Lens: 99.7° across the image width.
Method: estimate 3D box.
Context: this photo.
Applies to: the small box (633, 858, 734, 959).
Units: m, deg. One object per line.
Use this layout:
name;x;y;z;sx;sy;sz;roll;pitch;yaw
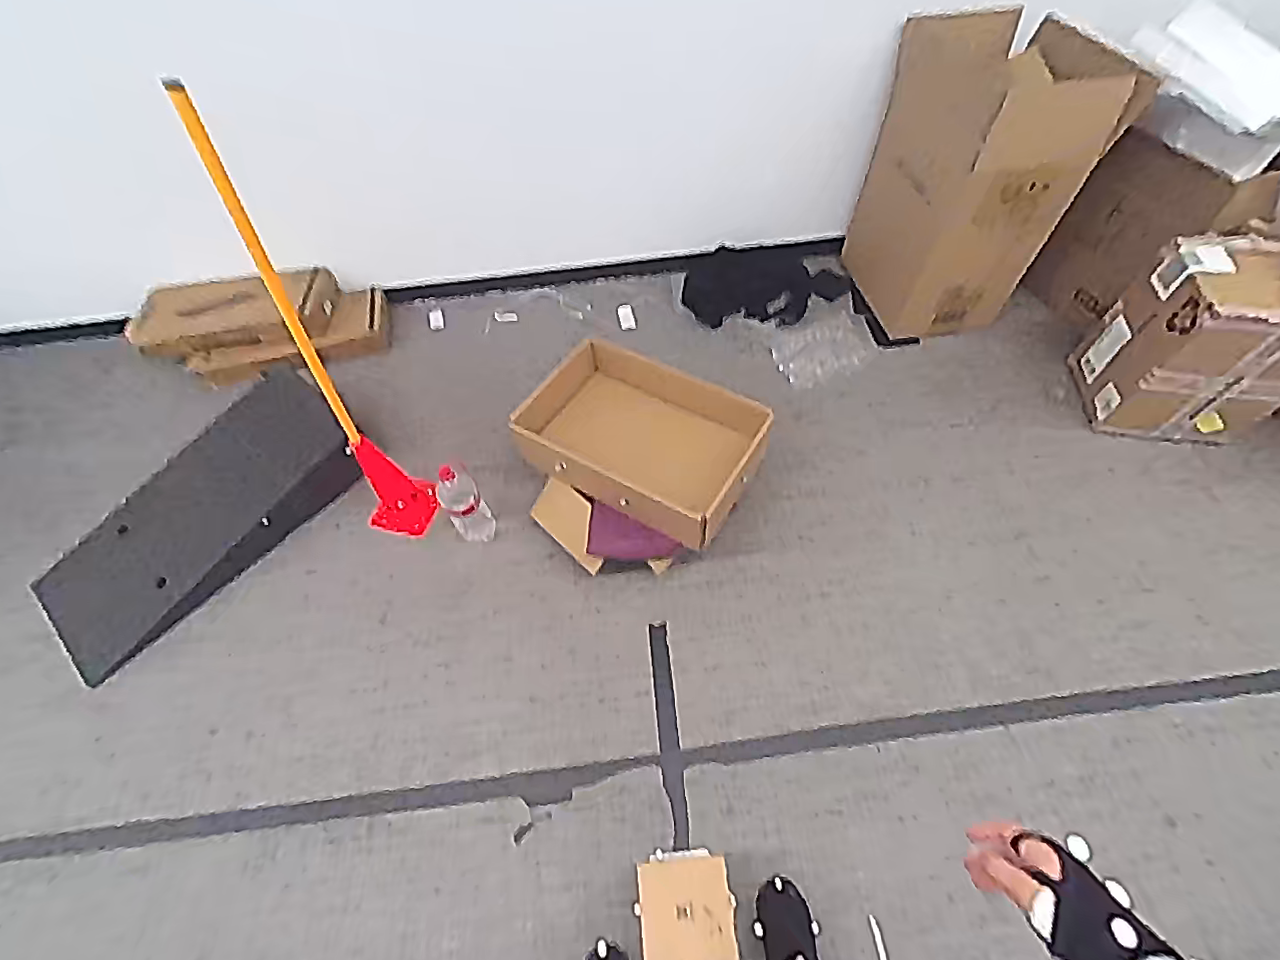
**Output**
small box;0.083;0.865;1.082;0.179;0.176;0.168;-5;56;-1
